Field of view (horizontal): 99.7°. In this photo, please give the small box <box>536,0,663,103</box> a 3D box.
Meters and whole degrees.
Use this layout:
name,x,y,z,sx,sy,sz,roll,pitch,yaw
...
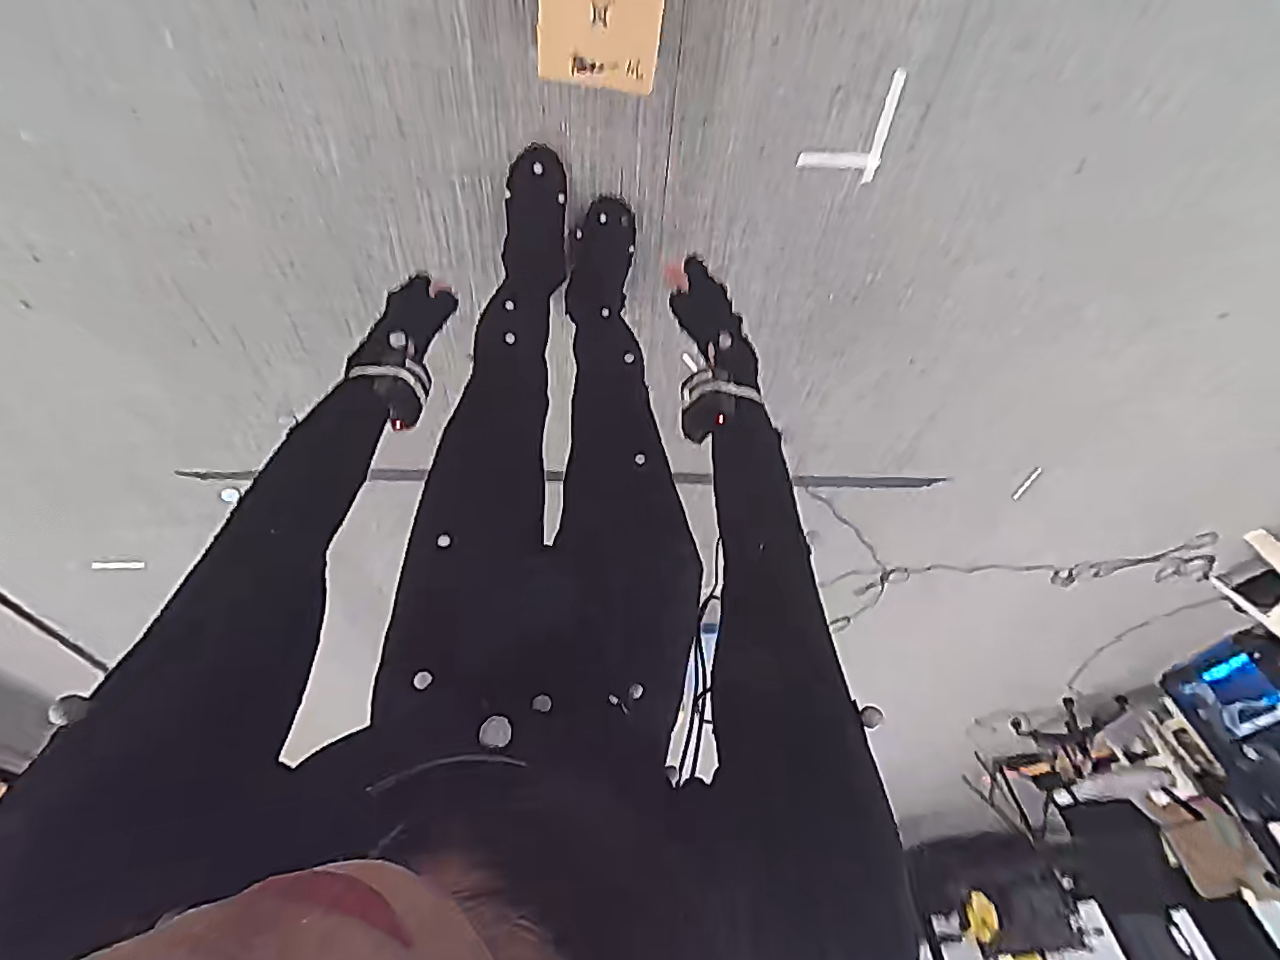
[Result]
name,x,y,z,sx,sy,sz,roll,pitch,yaw
small box,-0.062,-0.675,0.778,0.168,0.176,0.179,3,135,-10

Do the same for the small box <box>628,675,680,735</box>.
name,x,y,z,sx,sy,sz,roll,pitch,yaw
small box,0.048,0.866,2.086,0.179,0.176,0.168,0,136,-7
